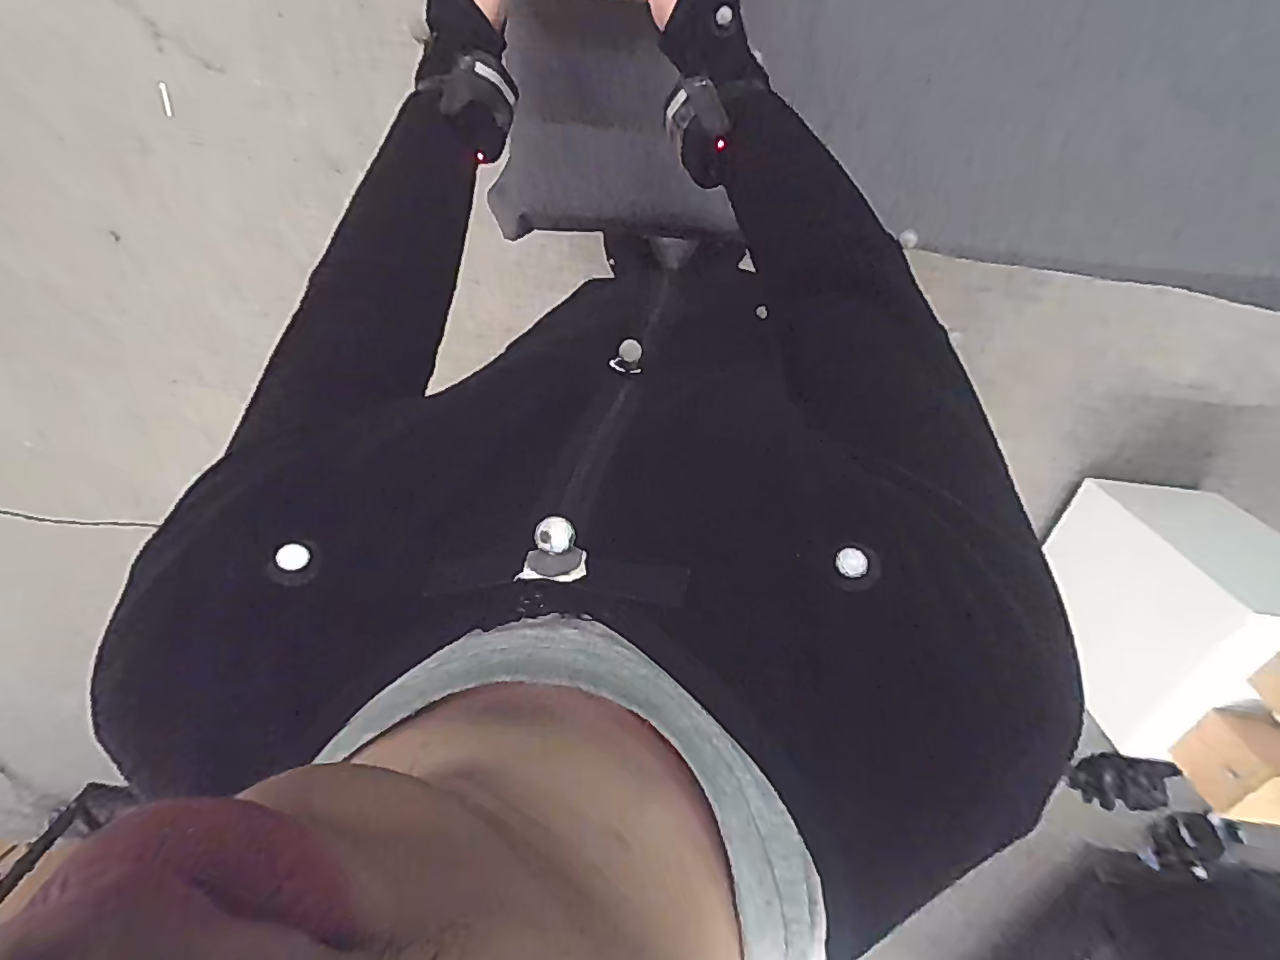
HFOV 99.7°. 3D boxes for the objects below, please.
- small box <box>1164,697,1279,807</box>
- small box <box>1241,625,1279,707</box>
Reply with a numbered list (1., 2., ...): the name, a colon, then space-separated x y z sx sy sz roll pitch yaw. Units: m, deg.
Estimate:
1. small box: 1.426 0.642 1.286 0.168 0.176 0.179 6 121 -3
2. small box: 1.468 0.417 1.152 0.168 0.176 0.179 9 122 -5
